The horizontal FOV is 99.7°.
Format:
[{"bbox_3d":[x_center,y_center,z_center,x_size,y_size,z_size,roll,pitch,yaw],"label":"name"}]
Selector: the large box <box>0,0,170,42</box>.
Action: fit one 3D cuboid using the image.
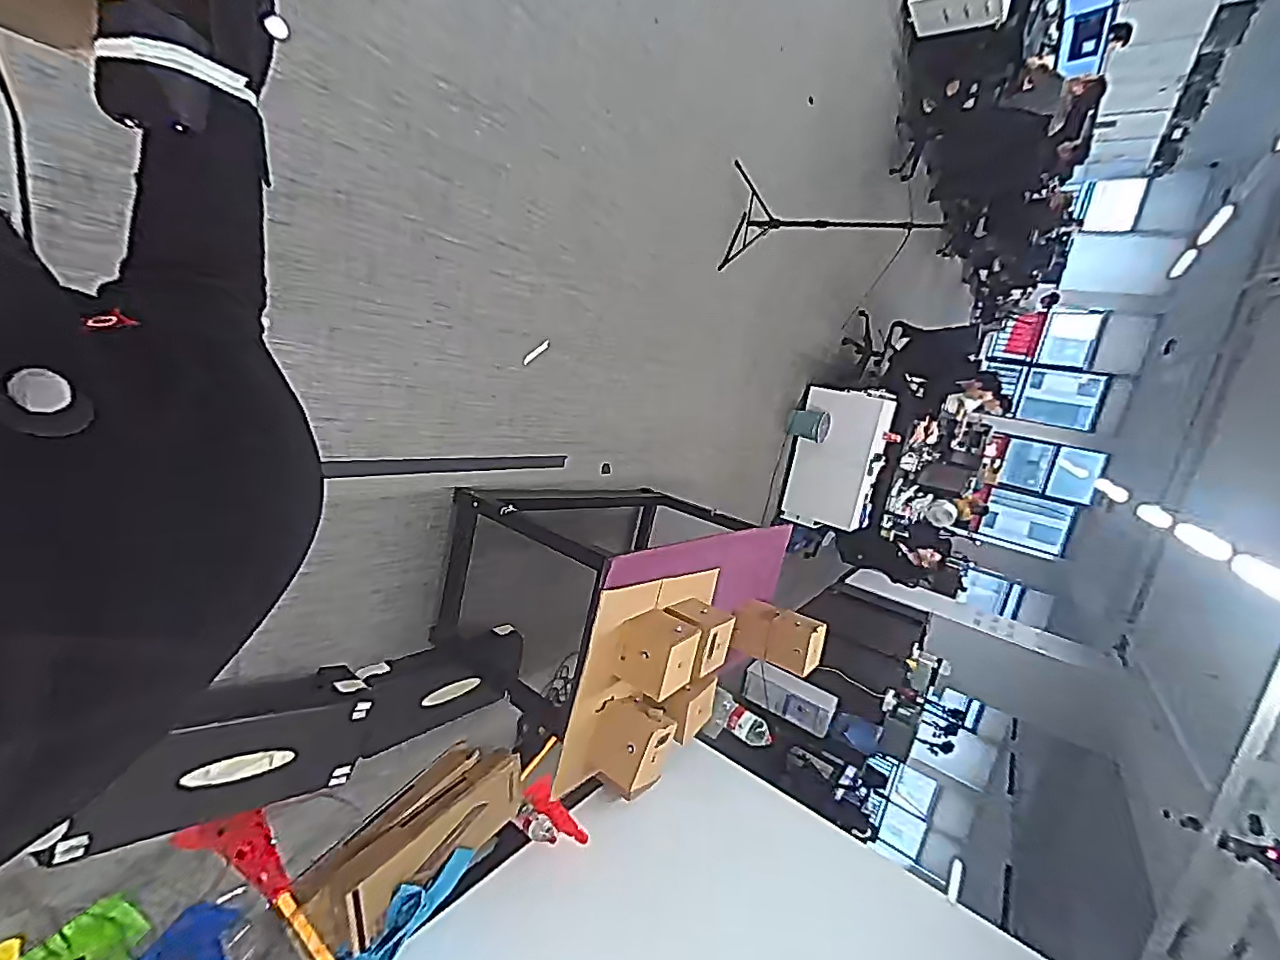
[{"bbox_3d":[-0.513,-0.489,0.243,0.408,0.320,0.320,-6,118,-56],"label":"large box"}]
